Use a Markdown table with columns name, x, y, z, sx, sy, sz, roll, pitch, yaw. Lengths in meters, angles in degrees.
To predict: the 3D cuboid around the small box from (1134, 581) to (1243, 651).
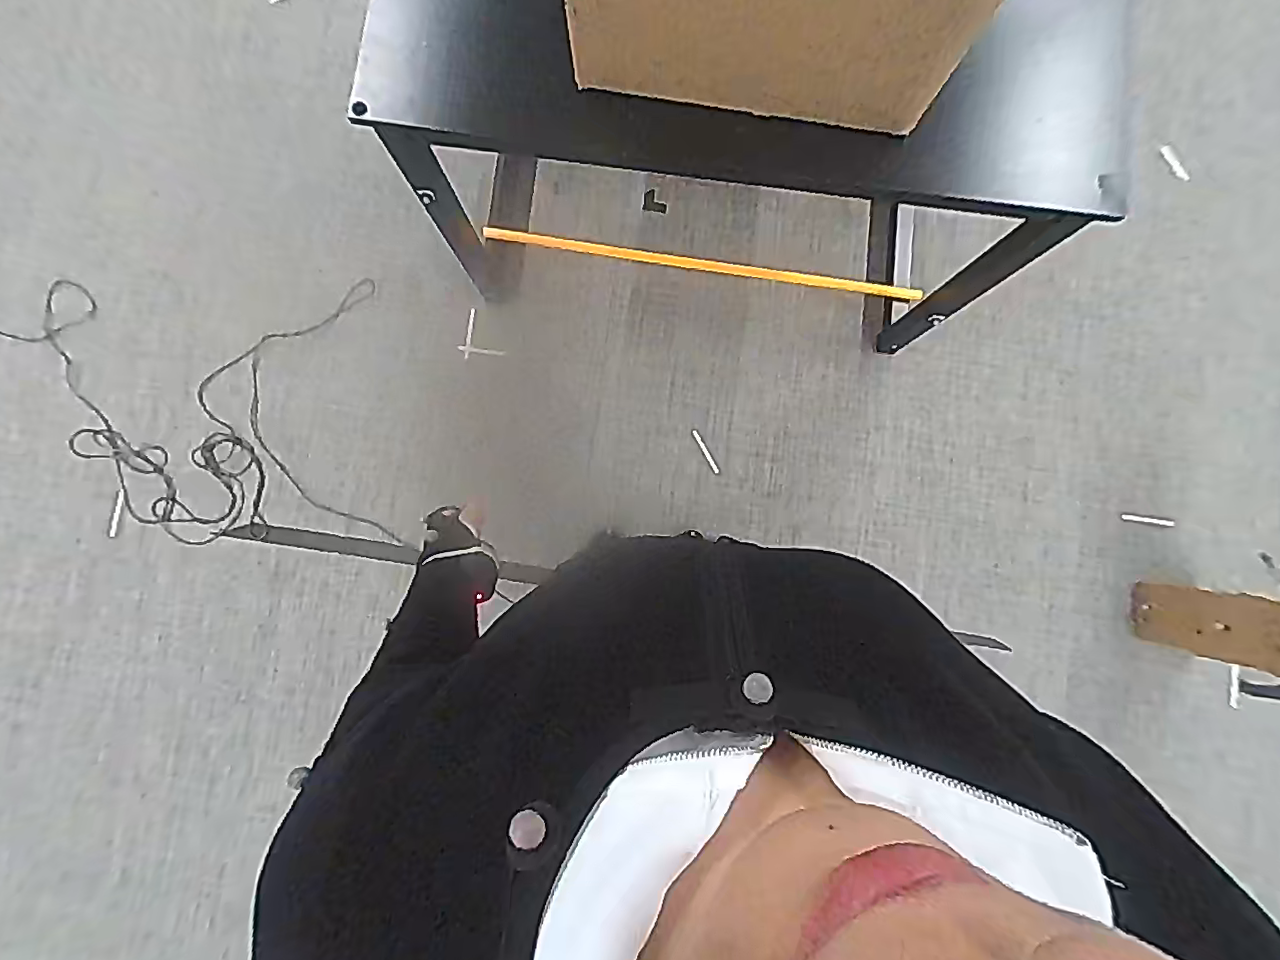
| name | x | y | z | sx | sy | sz | roll | pitch | yaw |
| --- | --- | --- | --- | --- | --- | --- | --- | --- | --- |
| small box | 1.473 | 0.361 | 1.432 | 0.179 | 0.176 | 0.168 | 5 | 84 | 1 |

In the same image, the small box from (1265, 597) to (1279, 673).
| name | x | y | z | sx | sy | sz | roll | pitch | yaw |
| --- | --- | --- | --- | --- | --- | --- | --- | --- | --- |
| small box | 1.460 | 0.332 | 1.103 | 0.179 | 0.176 | 0.168 | 1 | 84 | -1 |

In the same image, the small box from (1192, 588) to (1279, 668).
| name | x | y | z | sx | sy | sz | roll | pitch | yaw |
| --- | --- | --- | --- | --- | --- | --- | --- | --- | --- |
| small box | 1.458 | 0.349 | 1.268 | 0.179 | 0.176 | 0.168 | 6 | 84 | 0 |
